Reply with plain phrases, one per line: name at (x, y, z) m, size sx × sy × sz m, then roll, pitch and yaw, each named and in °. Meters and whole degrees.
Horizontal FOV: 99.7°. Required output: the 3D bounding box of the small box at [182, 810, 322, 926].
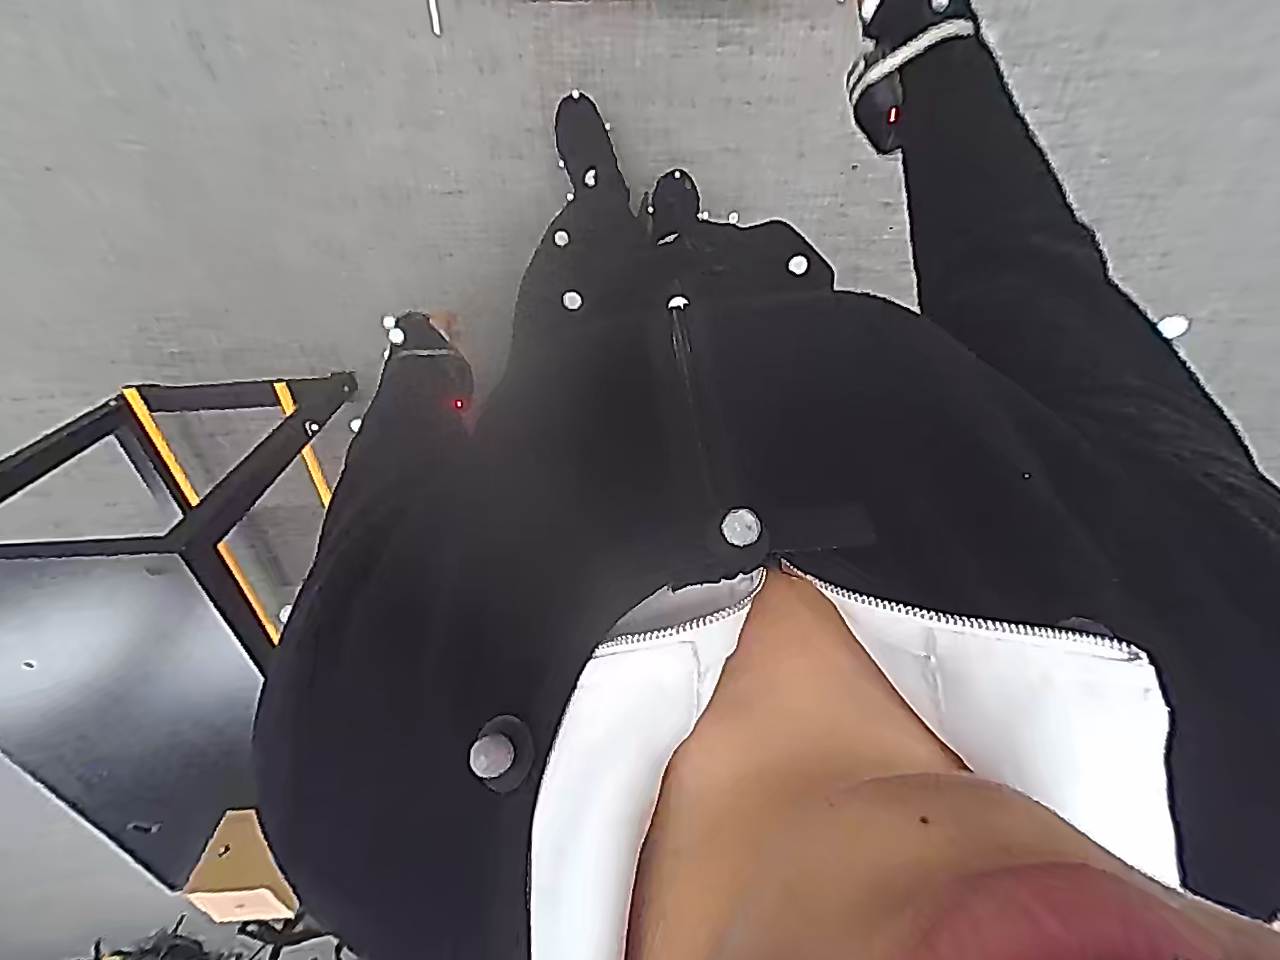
small box at (-0.877, 0.888, 1.243) m, size 0.179 × 0.176 × 0.168 m, roll -3°, pitch 125°, yaw -2°
